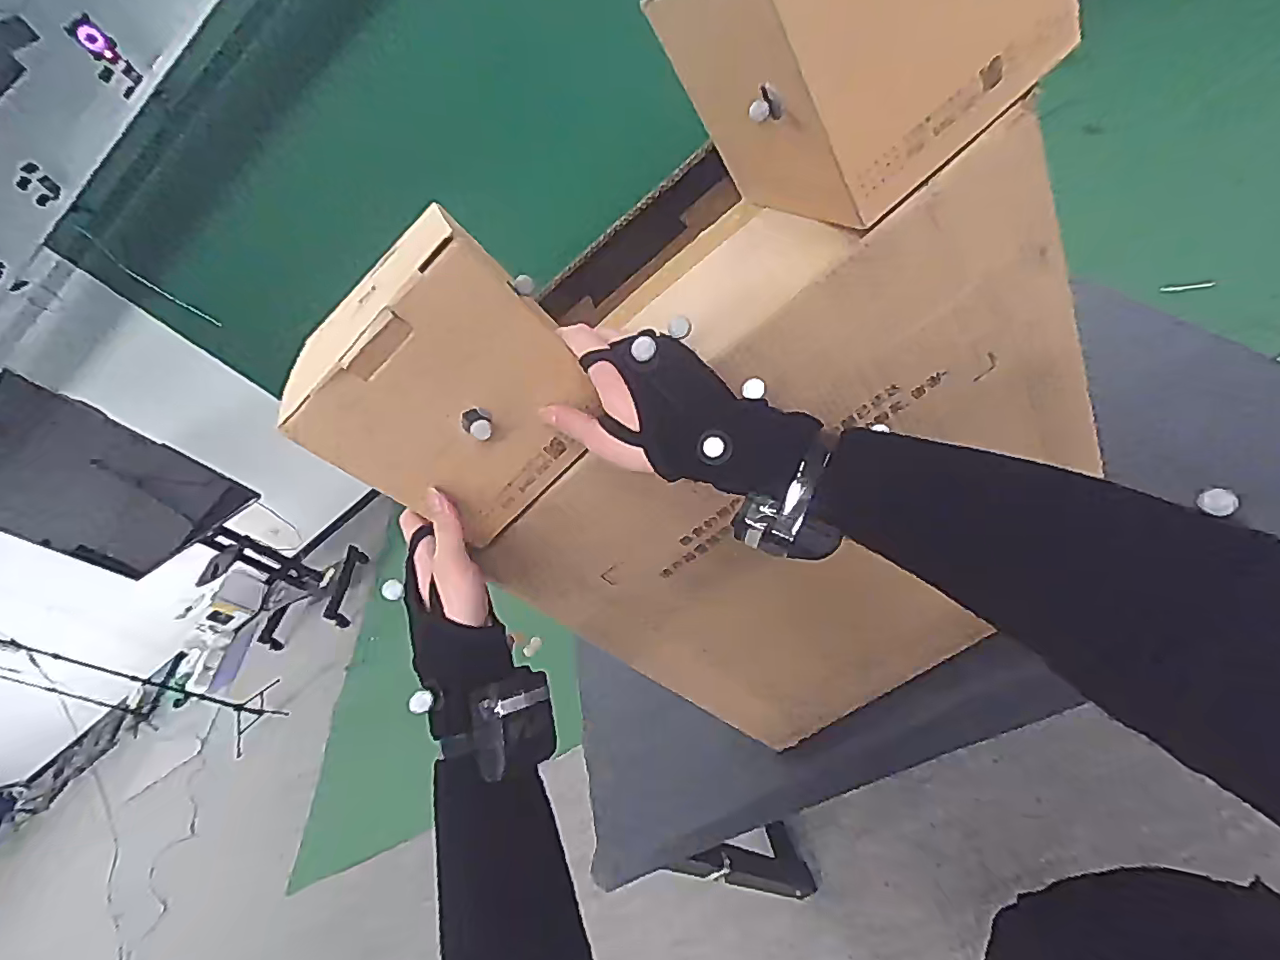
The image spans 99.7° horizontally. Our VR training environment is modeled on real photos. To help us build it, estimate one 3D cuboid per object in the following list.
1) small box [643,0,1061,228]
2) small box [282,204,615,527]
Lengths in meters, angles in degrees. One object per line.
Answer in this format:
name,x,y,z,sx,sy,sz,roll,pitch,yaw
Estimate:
small box,0.134,-0.298,0.361,0.168,0.176,0.179,-39,36,7
small box,-0.146,-0.085,0.439,0.168,0.176,0.179,-43,39,6
